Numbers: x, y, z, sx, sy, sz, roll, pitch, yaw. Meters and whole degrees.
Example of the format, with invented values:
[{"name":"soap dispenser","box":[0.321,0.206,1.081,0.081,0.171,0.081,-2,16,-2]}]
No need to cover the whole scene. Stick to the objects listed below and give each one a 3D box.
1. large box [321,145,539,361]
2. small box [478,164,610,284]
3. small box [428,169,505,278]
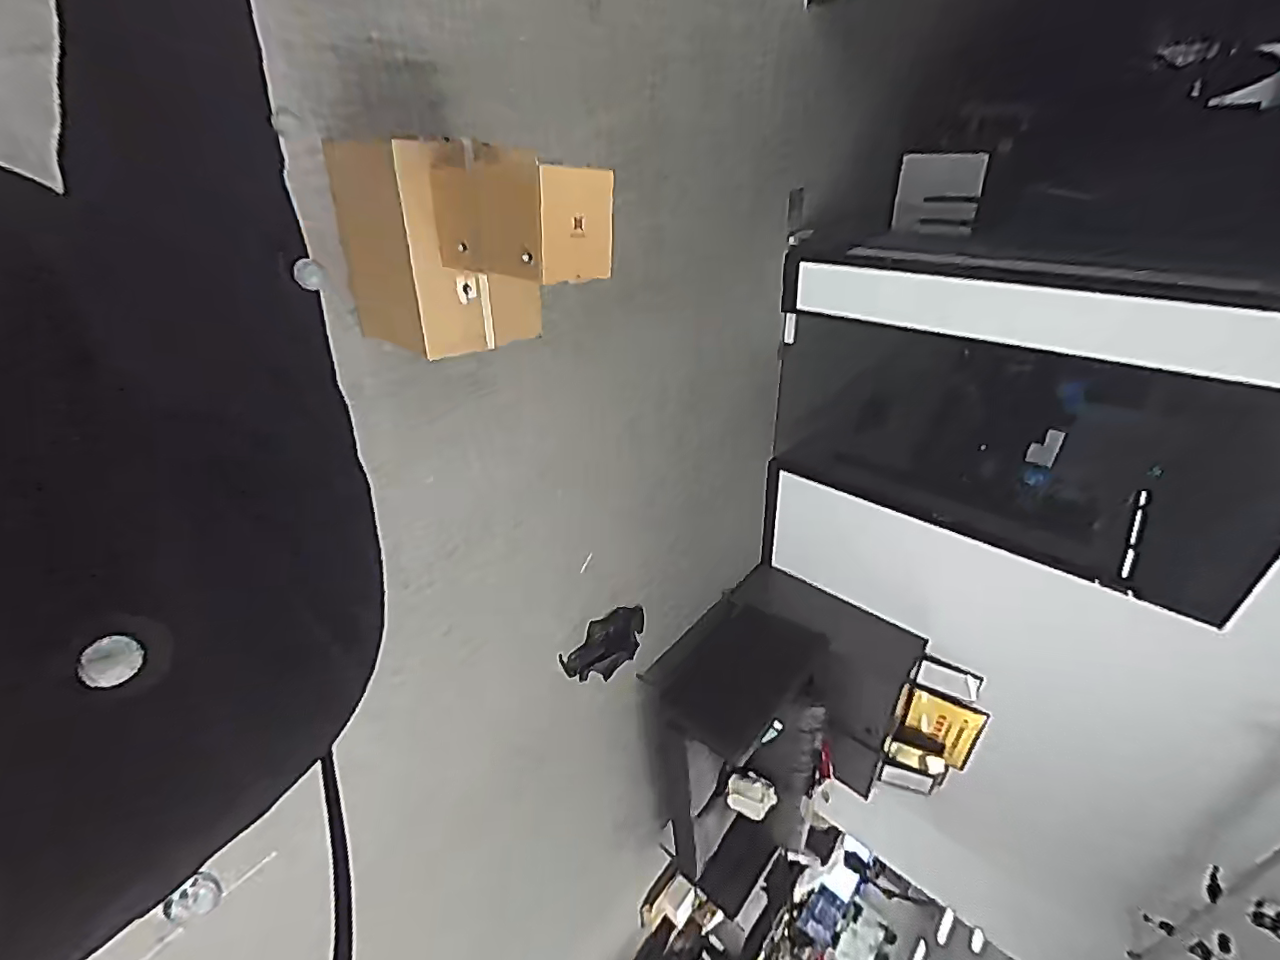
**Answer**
[{"name":"large box","box":[-0.461,-0.530,1.237,0.320,0.320,0.408,-27,131,-40]},{"name":"small box","box":[-0.170,-0.453,0.956,0.168,0.176,0.179,-27,130,-43]},{"name":"small box","box":[-0.287,-0.504,1.057,0.168,0.176,0.179,-29,130,-42]}]
